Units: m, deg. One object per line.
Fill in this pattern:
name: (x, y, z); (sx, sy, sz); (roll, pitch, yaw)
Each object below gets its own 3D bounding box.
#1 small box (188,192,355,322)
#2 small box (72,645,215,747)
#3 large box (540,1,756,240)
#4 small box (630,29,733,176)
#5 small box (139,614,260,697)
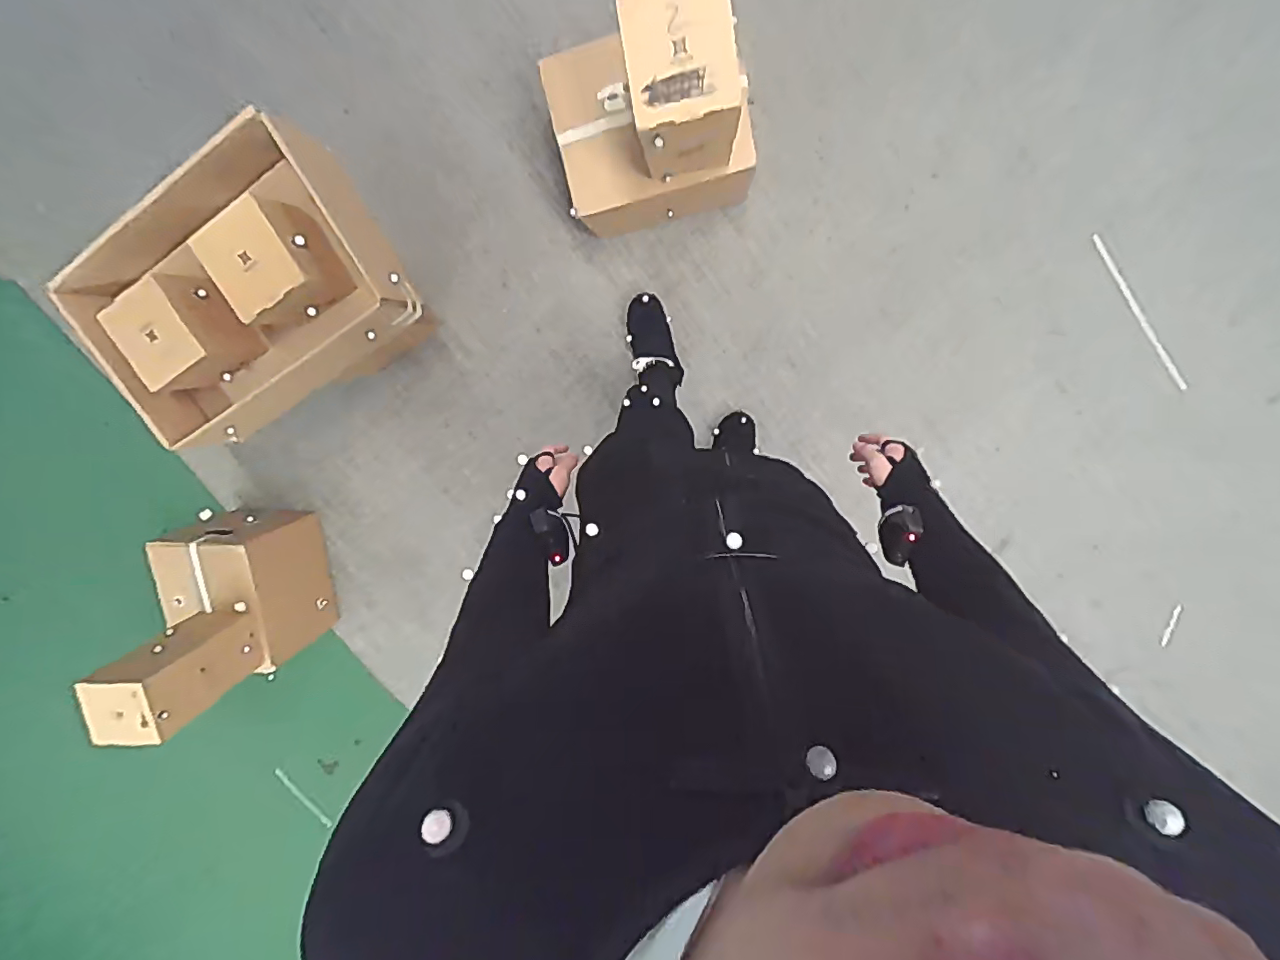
small box: (-0.720, -0.429, 1.076); (0.168, 0.176, 0.179); (-28, 102, 12)
small box: (-1.193, 0.517, 1.312); (0.179, 0.176, 0.168); (-1, 104, 6)
large box: (0.034, -0.796, 1.268); (0.408, 0.320, 0.320); (-12, 103, 10)
small box: (0.084, -0.702, 1.032); (0.168, 0.176, 0.179); (-8, 105, 8)
small box: (-1.189, 0.476, 1.471); (0.179, 0.176, 0.168); (-1, 105, 5)
